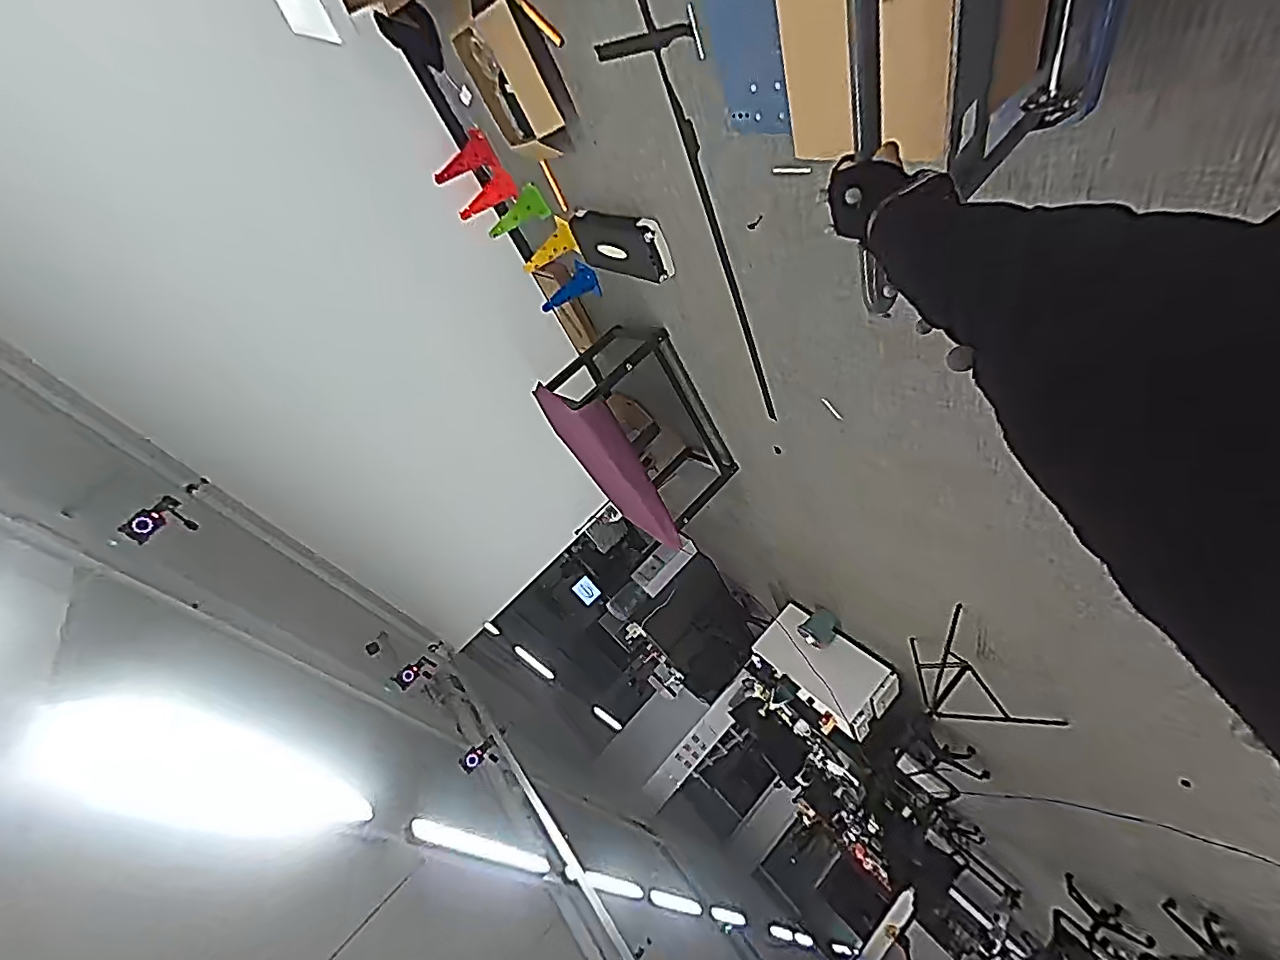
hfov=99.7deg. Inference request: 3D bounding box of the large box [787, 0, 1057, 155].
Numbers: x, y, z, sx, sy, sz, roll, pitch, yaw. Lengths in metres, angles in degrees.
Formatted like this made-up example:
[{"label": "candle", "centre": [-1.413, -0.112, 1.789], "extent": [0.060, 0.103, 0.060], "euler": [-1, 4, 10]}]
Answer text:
[{"label": "large box", "centre": [0.472, -0.829, 0.908], "extent": [0.320, 0.320, 0.408], "euler": [33, 160, 41]}]
